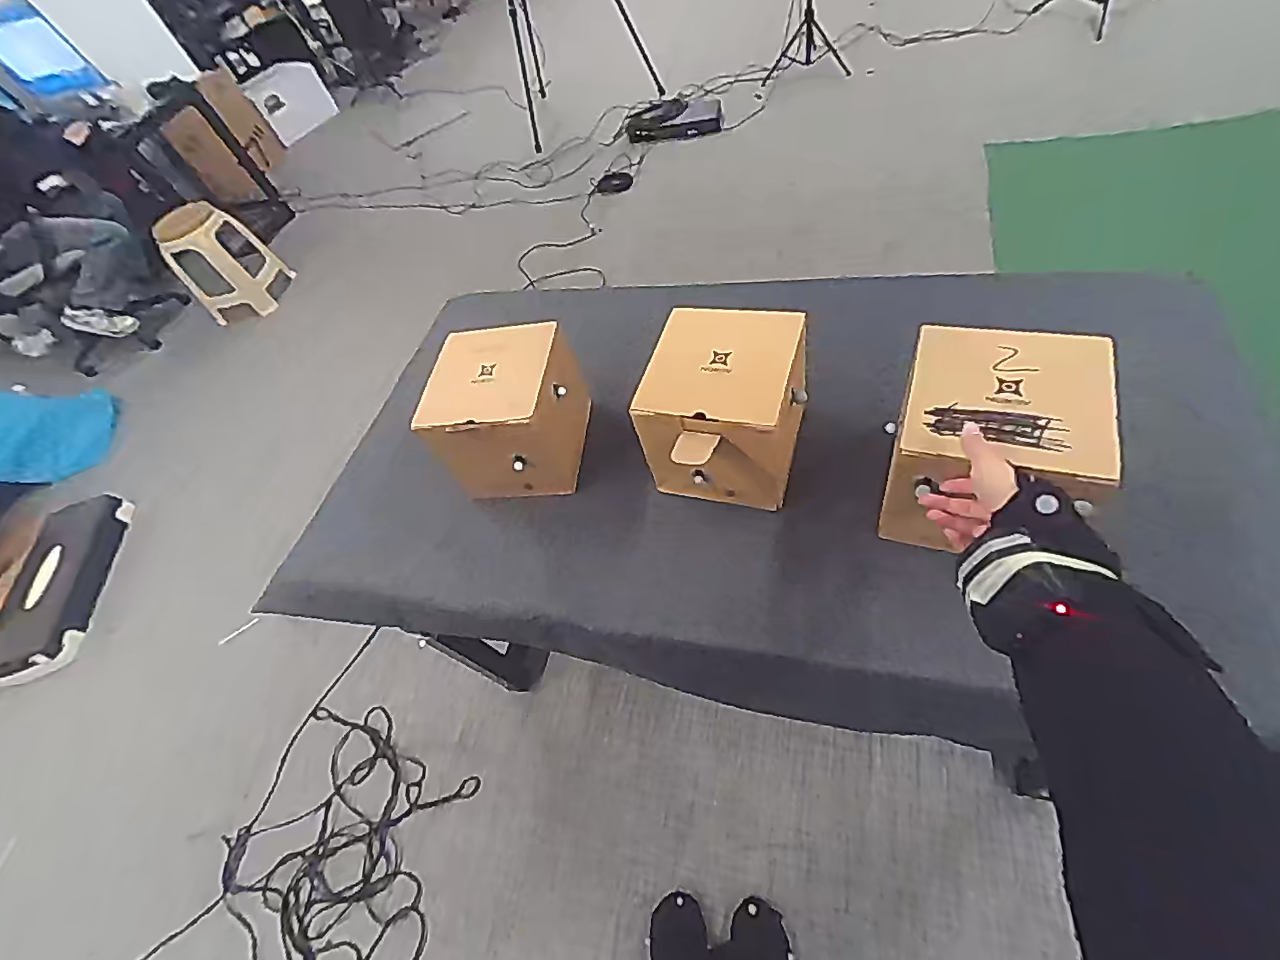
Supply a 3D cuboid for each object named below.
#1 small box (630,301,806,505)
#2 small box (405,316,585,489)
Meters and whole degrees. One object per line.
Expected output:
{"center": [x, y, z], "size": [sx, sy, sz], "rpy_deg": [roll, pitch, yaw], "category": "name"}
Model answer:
{"center": [0.104, -0.095, 0.672], "size": [0.168, 0.176, 0.179], "rpy_deg": [10, 59, 20], "category": "small box"}
{"center": [-0.184, -0.098, 0.751], "size": [0.168, 0.176, 0.179], "rpy_deg": [-2, 54, 12], "category": "small box"}
